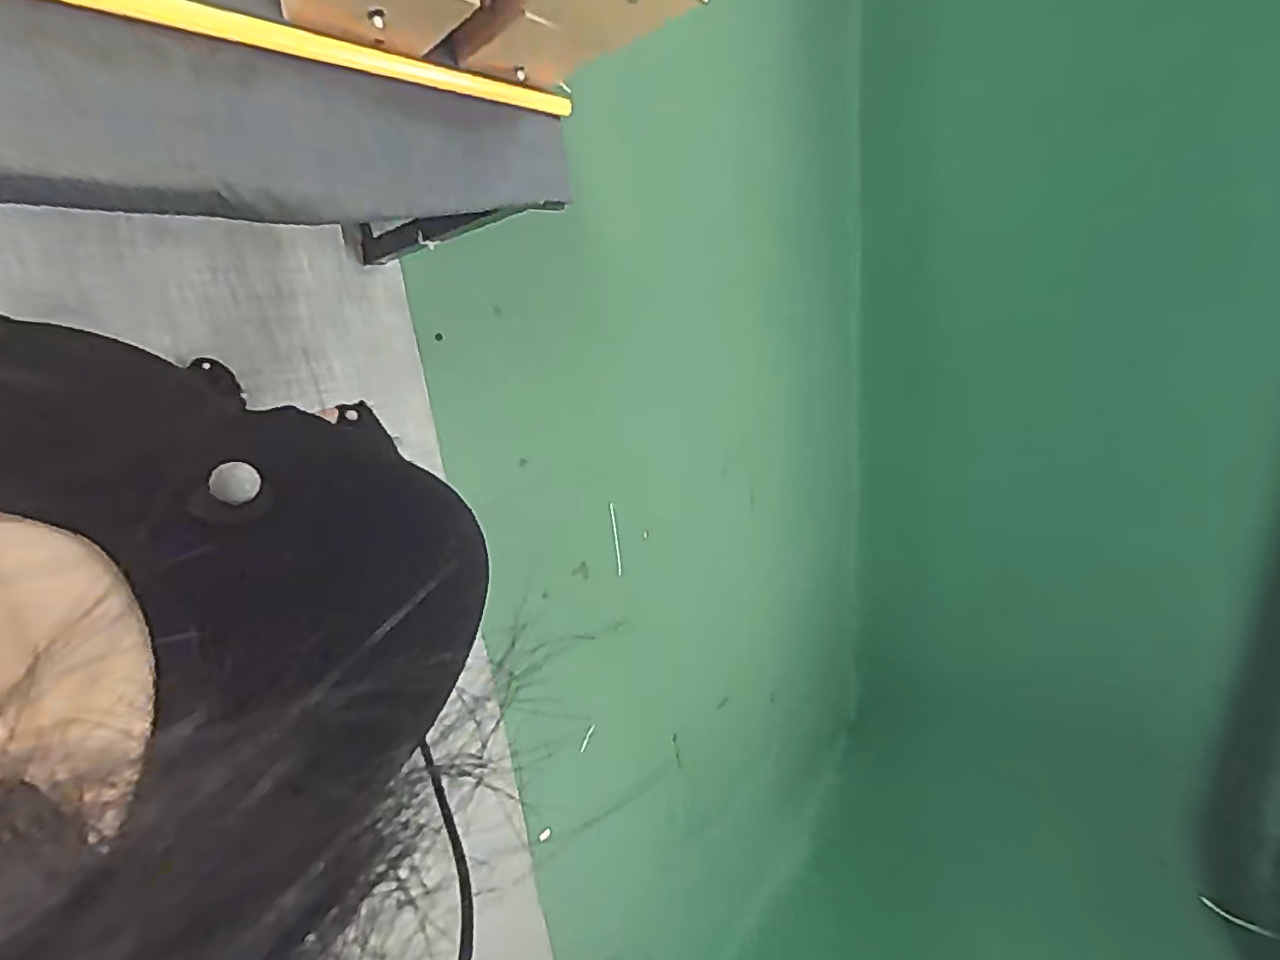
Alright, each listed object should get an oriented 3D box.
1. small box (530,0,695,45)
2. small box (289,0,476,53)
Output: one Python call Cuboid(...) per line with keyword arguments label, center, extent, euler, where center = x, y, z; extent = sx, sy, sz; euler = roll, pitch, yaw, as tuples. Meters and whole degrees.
Cuboid(label="small box", center=(-0.036, -0.678, 0.658), extent=(0.179, 0.176, 0.168), euler=(-18, 110, -46))
Cuboid(label="small box", center=(-0.310, -0.631, 0.611), extent=(0.168, 0.176, 0.179), euler=(-20, 111, -45))
